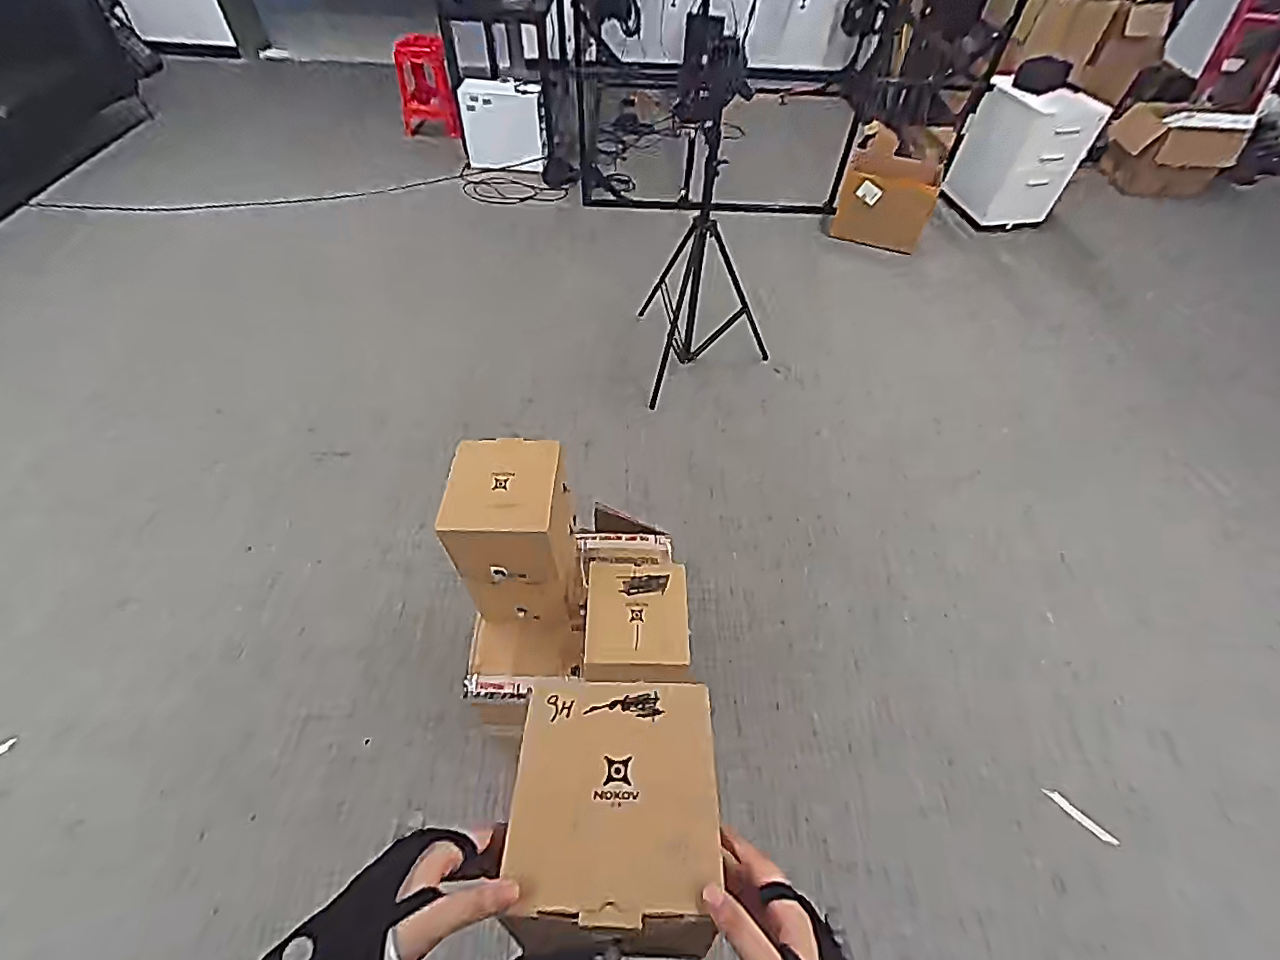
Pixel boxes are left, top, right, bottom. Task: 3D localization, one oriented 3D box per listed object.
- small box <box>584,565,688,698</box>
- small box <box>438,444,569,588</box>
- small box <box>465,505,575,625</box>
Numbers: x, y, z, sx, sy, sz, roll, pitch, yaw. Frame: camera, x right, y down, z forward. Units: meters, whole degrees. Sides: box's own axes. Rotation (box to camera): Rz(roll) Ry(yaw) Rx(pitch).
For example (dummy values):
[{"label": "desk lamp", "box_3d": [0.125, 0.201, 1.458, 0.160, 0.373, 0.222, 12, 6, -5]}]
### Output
[{"label": "small box", "box_3d": [-0.010, 0.266, 0.947, 0.168, 0.176, 0.179, 2, 54, -2]}, {"label": "small box", "box_3d": [-0.210, 0.060, 0.890, 0.168, 0.176, 0.179, 0, 54, 0]}, {"label": "small box", "box_3d": [-0.215, 0.158, 1.020, 0.168, 0.176, 0.179, 0, 53, 0]}]
